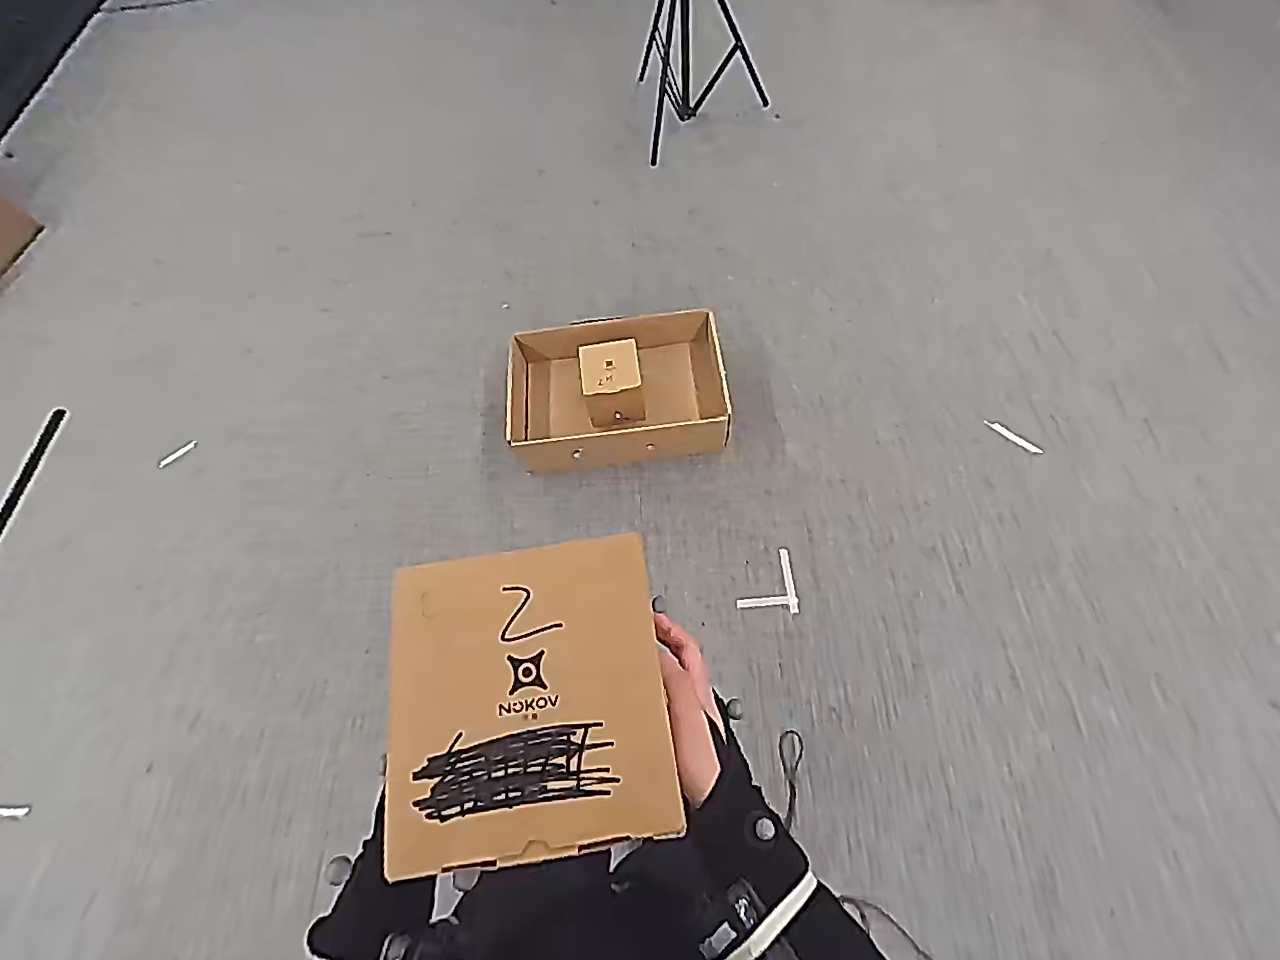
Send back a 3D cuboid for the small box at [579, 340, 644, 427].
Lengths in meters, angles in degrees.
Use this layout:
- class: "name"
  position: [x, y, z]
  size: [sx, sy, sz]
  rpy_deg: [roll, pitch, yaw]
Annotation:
- class: "small box"
  position: [-0.082, -0.282, 1.597]
  size: [0.168, 0.176, 0.179]
  rpy_deg: [-9, 64, 2]
